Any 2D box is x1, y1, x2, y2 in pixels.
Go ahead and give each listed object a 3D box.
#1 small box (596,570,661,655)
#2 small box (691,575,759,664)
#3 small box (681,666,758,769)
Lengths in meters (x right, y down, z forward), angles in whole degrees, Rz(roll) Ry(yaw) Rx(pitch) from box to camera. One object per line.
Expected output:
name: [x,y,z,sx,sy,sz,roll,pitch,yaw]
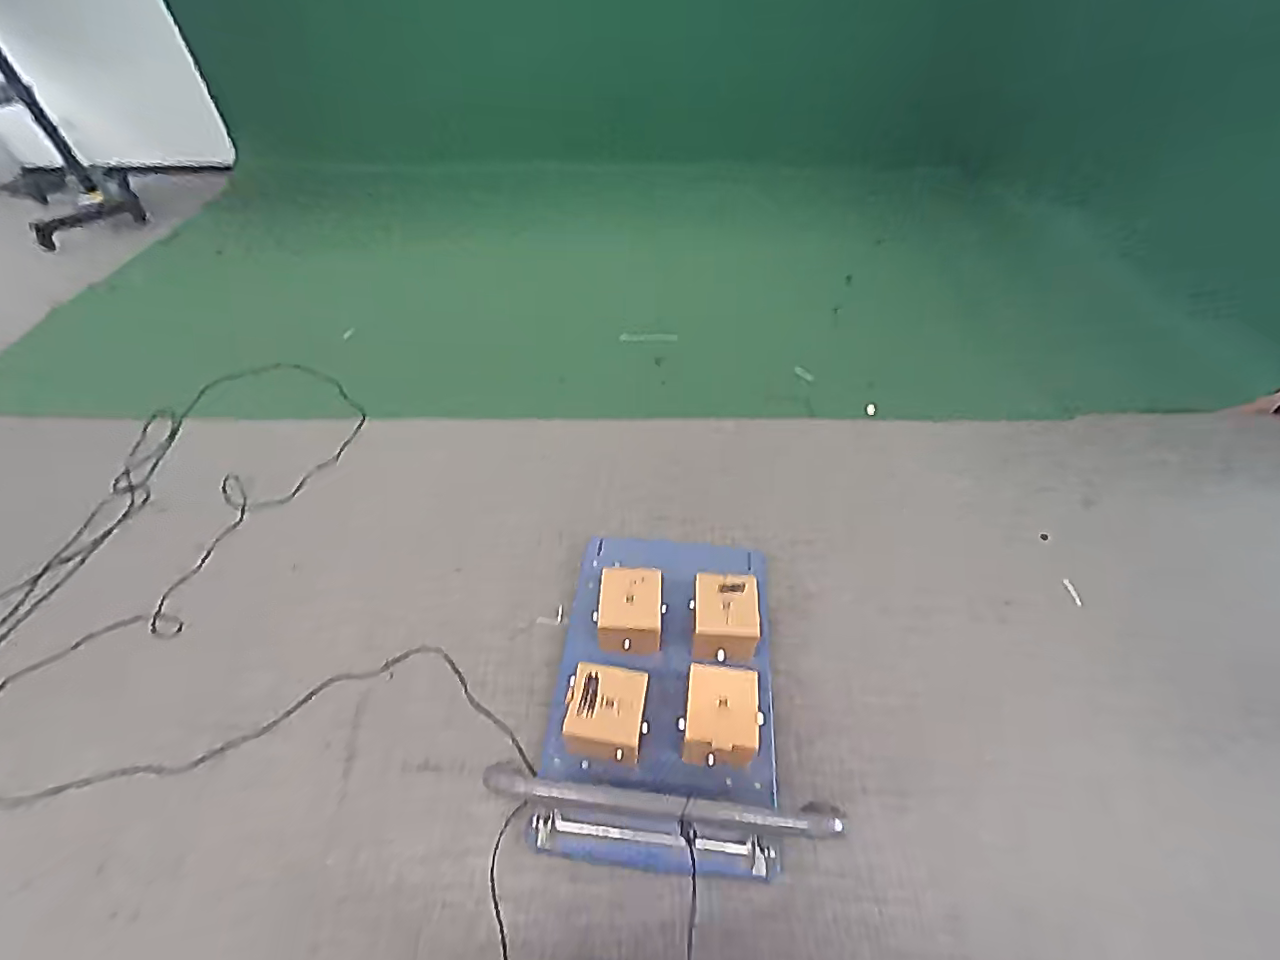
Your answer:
small box: [-0.028,0.371,1.502,0.168,0.176,0.179,2,48,1]
small box: [0.228,0.384,1.489,0.168,0.176,0.179,3,49,3]
small box: [0.191,0.580,1.318,0.168,0.176,0.179,5,49,5]
